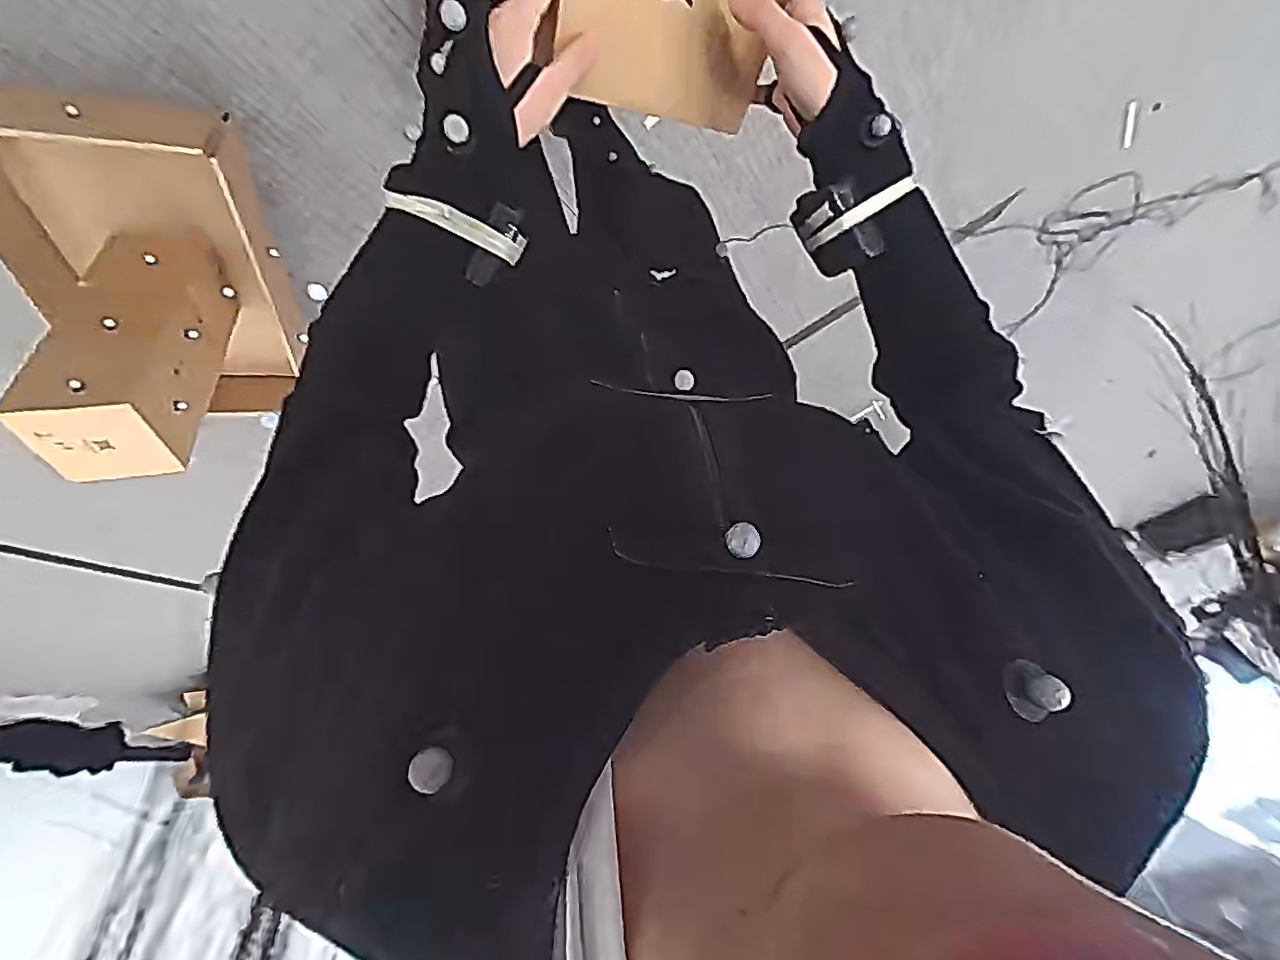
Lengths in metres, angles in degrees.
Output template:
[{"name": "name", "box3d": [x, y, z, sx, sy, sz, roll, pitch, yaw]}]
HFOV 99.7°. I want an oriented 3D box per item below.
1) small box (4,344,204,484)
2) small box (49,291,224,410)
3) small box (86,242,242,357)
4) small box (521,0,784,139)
[{"name": "small box", "box3d": [-0.890, -0.117, 0.927, 0.179, 0.176, 0.168, -7, 142, -13]}, {"name": "small box", "box3d": [-0.931, -0.242, 1.027, 0.179, 0.176, 0.168, -6, 142, -13]}, {"name": "small box", "box3d": [-0.965, -0.373, 1.117, 0.179, 0.176, 0.168, -5, 143, -17]}, {"name": "small box", "box3d": [0.007, -0.406, 0.416, 0.168, 0.176, 0.179, -3, 142, -23]}]
